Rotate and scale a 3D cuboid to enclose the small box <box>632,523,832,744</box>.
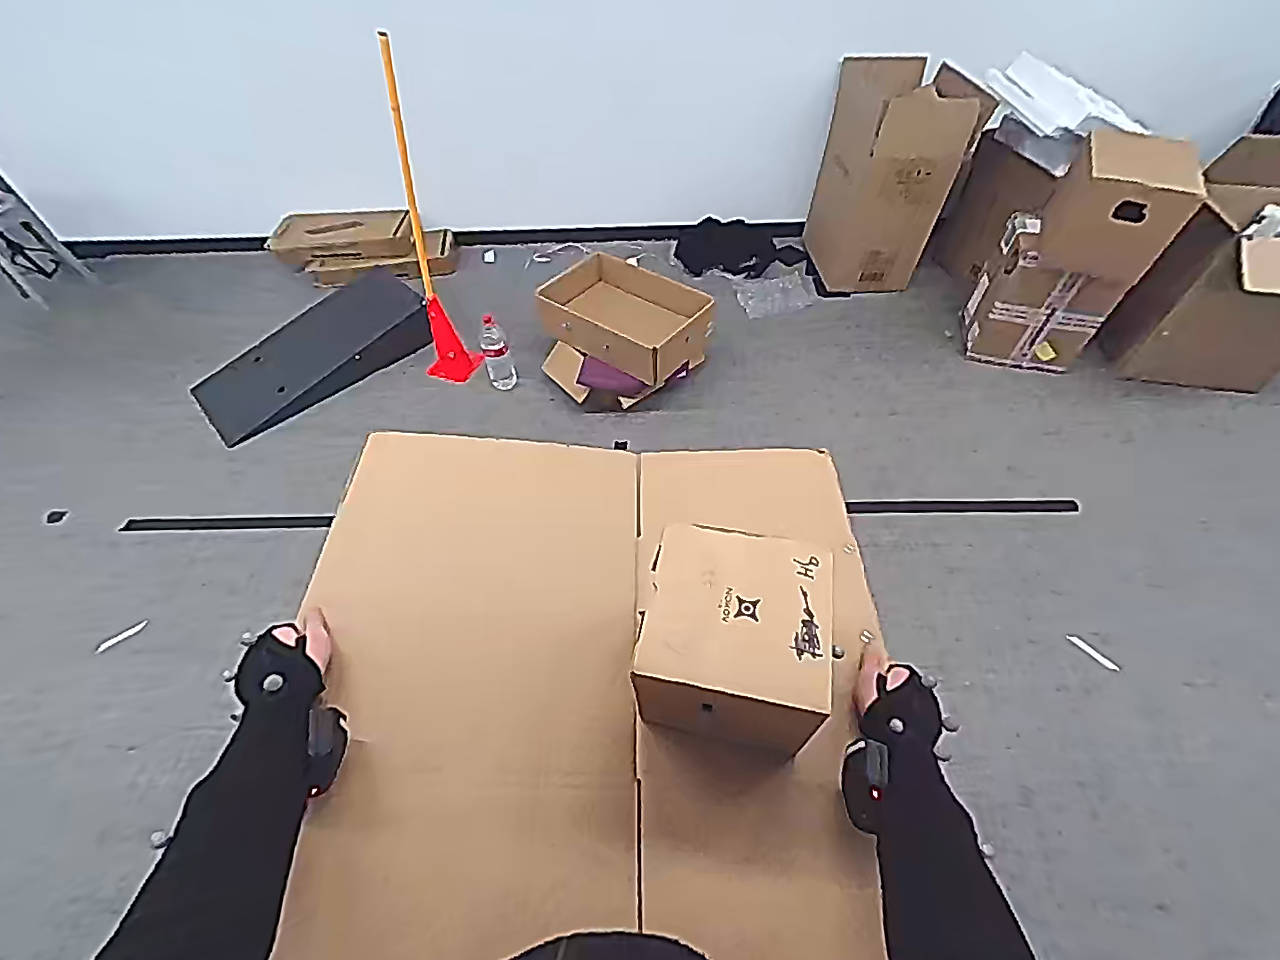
[{"bbox_3d":[0.100,0.170,0.585,0.179,0.176,0.168,8,54,11],"label":"small box"}]
